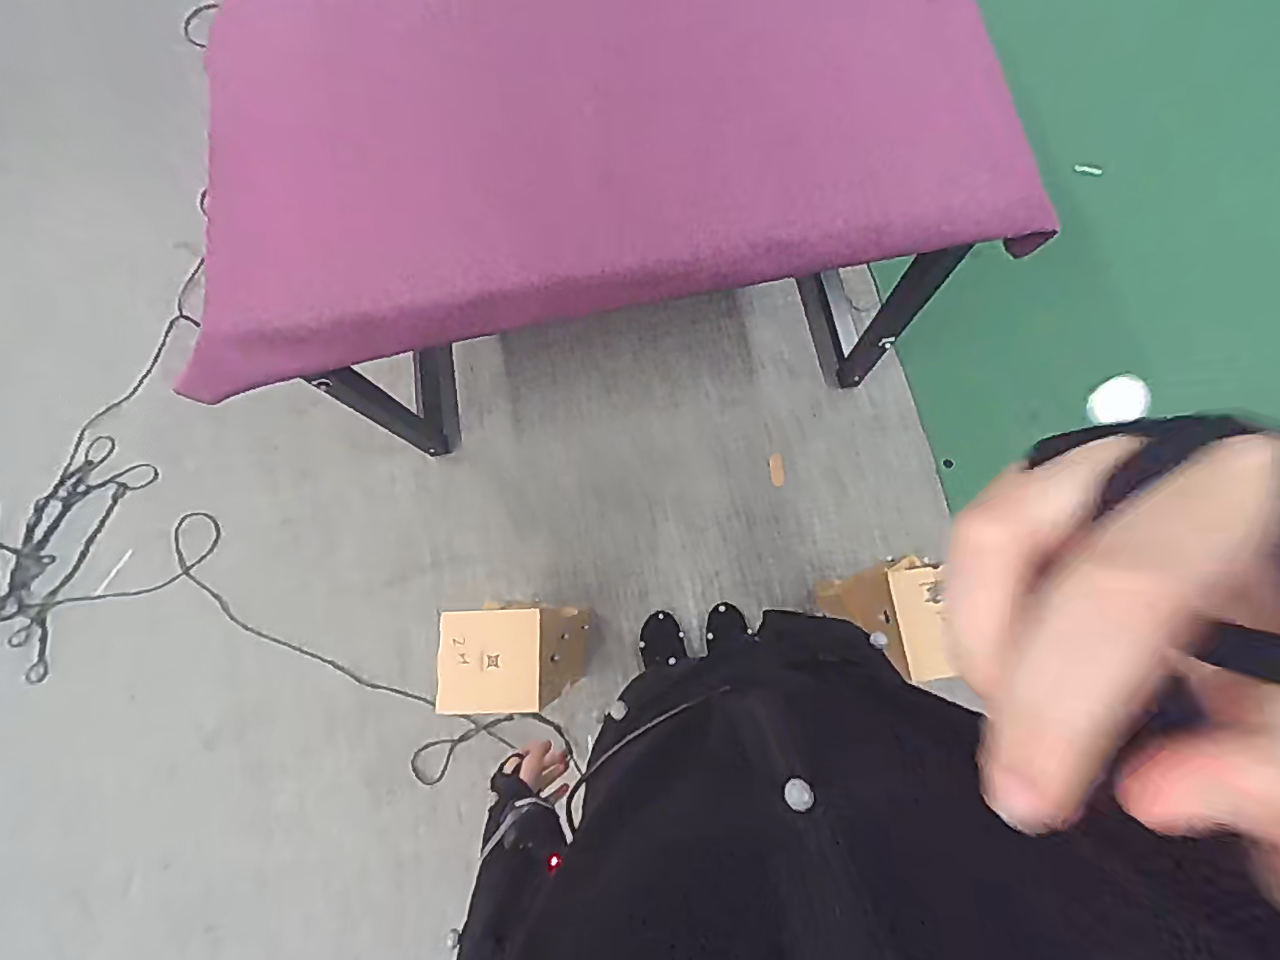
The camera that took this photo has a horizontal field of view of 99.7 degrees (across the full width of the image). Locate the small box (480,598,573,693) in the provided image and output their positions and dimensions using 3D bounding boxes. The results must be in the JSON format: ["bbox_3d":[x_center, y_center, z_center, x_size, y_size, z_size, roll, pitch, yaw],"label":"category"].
[{"bbox_3d":[-0.248,0.351,1.132,0.168,0.176,0.179,11,77,7],"label":"small box"}]

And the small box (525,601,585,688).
[{"bbox_3d":[-0.230,0.384,1.289,0.168,0.176,0.179,5,78,5],"label":"small box"}]

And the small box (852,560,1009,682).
[{"bbox_3d":[0.490,0.241,0.943,0.168,0.176,0.179,-8,78,1],"label":"small box"}]

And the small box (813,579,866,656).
[{"bbox_3d":[0.509,0.321,1.261,0.179,0.176,0.168,0,78,4],"label":"small box"}]

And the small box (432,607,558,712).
[{"bbox_3d":[-0.249,0.314,0.971,0.179,0.176,0.168,-2,76,4],"label":"small box"}]
